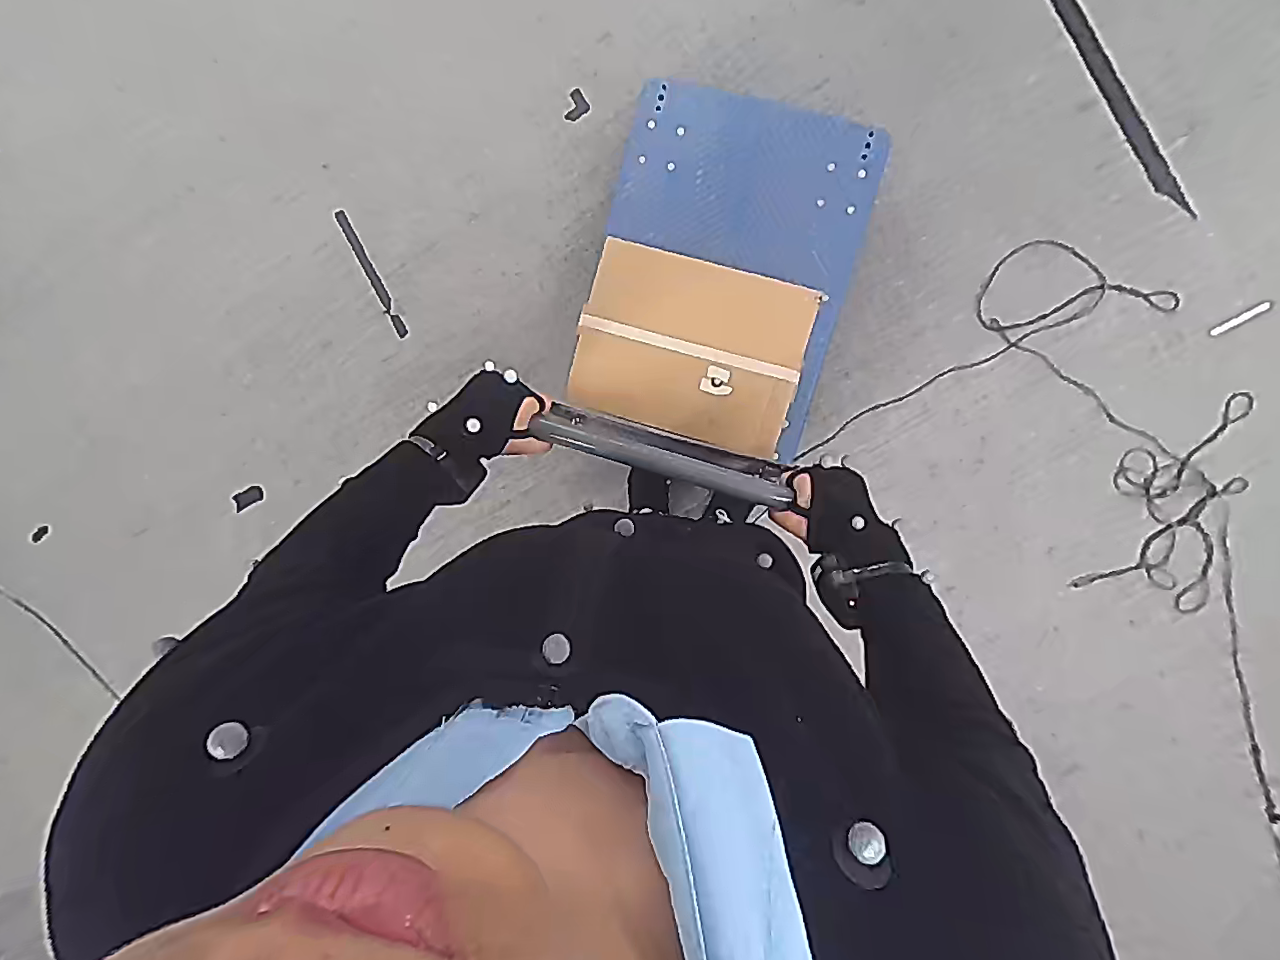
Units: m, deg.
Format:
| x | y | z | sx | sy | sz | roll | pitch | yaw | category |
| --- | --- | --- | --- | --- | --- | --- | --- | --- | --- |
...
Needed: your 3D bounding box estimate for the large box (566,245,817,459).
| x | y | z | sx | sy | sz | roll | pitch | yaw | category |
| --- | --- | --- | --- | --- | --- | --- | --- | --- | --- |
| 0.098 | -0.245 | 1.137 | 0.408 | 0.320 | 0.320 | 16 | 96 | 4 | large box |
